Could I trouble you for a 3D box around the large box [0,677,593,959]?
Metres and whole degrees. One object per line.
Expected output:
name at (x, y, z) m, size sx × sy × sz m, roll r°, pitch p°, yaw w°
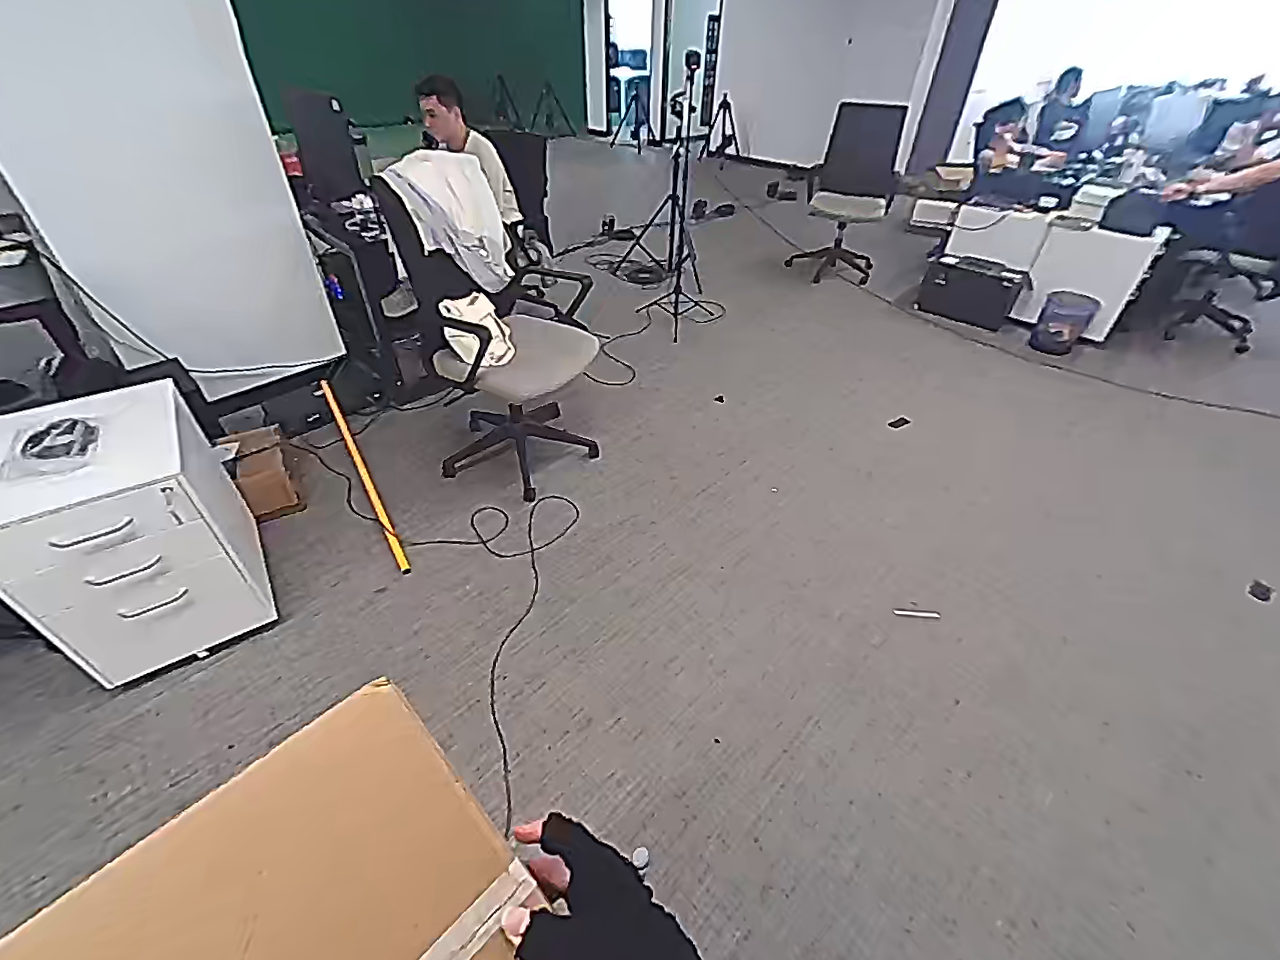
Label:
large box at (-0.265, 0.412, 0.366) m, size 0.408 × 0.320 × 0.320 m, roll -34°, pitch 81°, yaw -33°
